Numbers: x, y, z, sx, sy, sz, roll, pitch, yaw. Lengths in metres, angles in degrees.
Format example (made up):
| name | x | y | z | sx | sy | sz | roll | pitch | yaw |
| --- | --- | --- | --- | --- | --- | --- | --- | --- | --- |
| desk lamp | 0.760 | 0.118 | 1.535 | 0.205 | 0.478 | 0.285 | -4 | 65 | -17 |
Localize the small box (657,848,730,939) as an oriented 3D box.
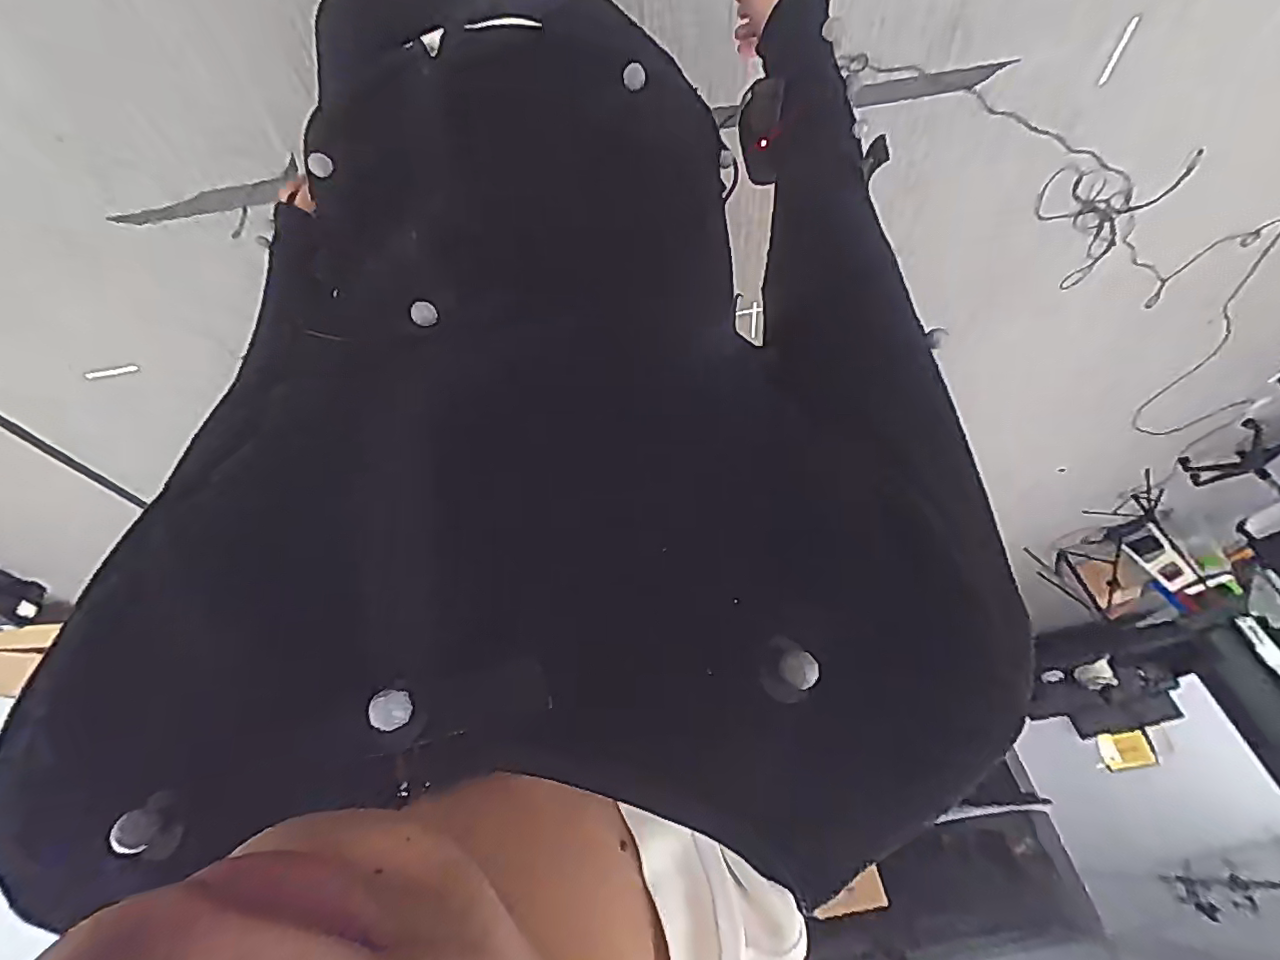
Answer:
| name | x | y | z | sx | sy | sz | roll | pitch | yaw |
| --- | --- | --- | --- | --- | --- | --- | --- | --- | --- |
| small box | 0.145 | 1.129 | 1.487 | 0.168 | 0.176 | 0.179 | -11 | 146 | 1 |
